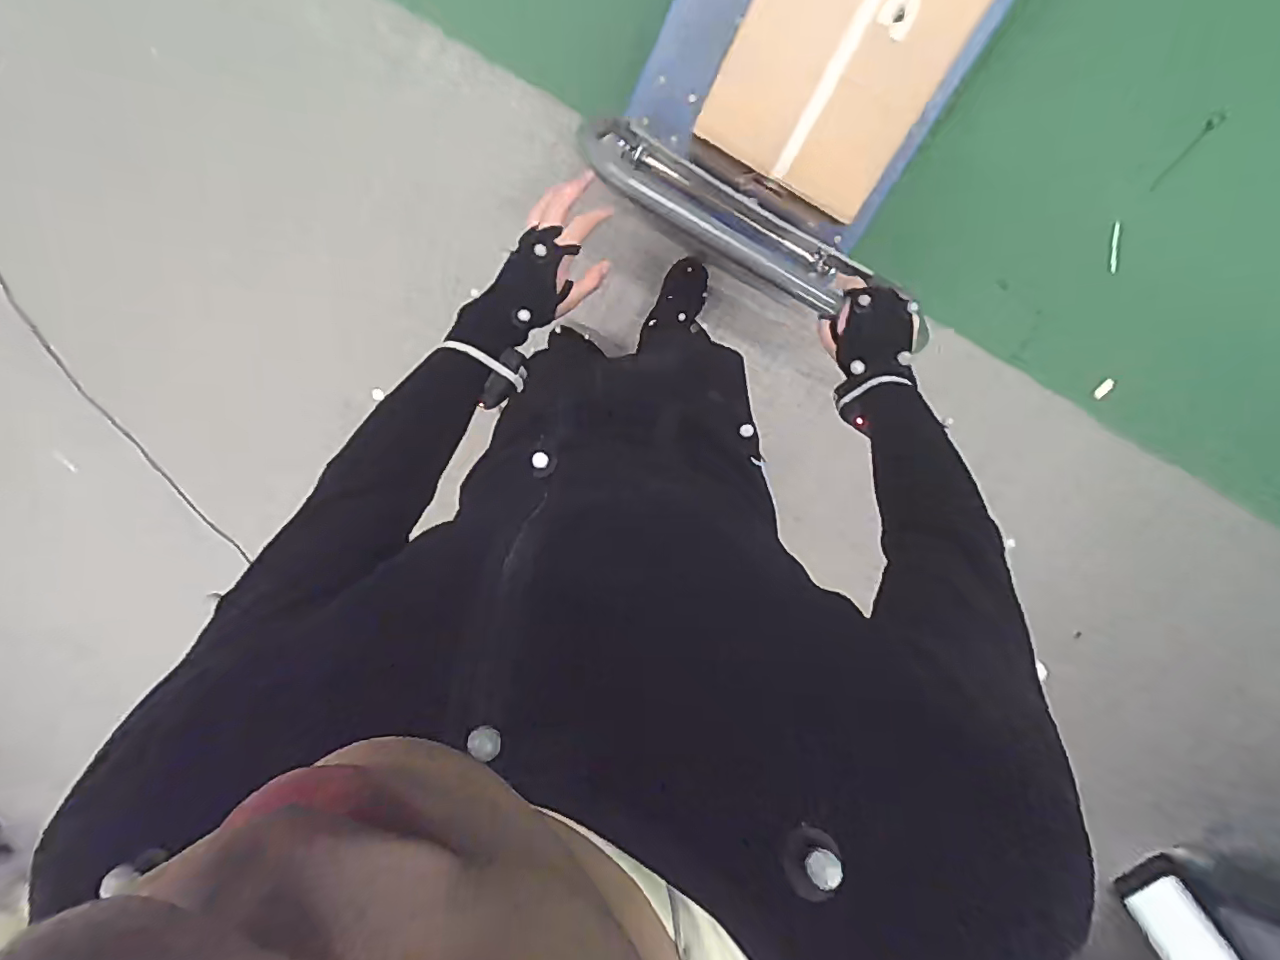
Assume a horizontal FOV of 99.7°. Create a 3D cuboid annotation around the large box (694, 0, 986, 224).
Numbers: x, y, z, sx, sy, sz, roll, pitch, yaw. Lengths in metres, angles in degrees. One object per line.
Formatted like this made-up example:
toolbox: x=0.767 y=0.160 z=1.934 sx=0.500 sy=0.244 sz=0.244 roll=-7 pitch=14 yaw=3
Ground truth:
large box: x=0.323 y=-0.729 z=0.973 sx=0.320 sy=0.320 sz=0.408 roll=27 pitch=114 yaw=-9
